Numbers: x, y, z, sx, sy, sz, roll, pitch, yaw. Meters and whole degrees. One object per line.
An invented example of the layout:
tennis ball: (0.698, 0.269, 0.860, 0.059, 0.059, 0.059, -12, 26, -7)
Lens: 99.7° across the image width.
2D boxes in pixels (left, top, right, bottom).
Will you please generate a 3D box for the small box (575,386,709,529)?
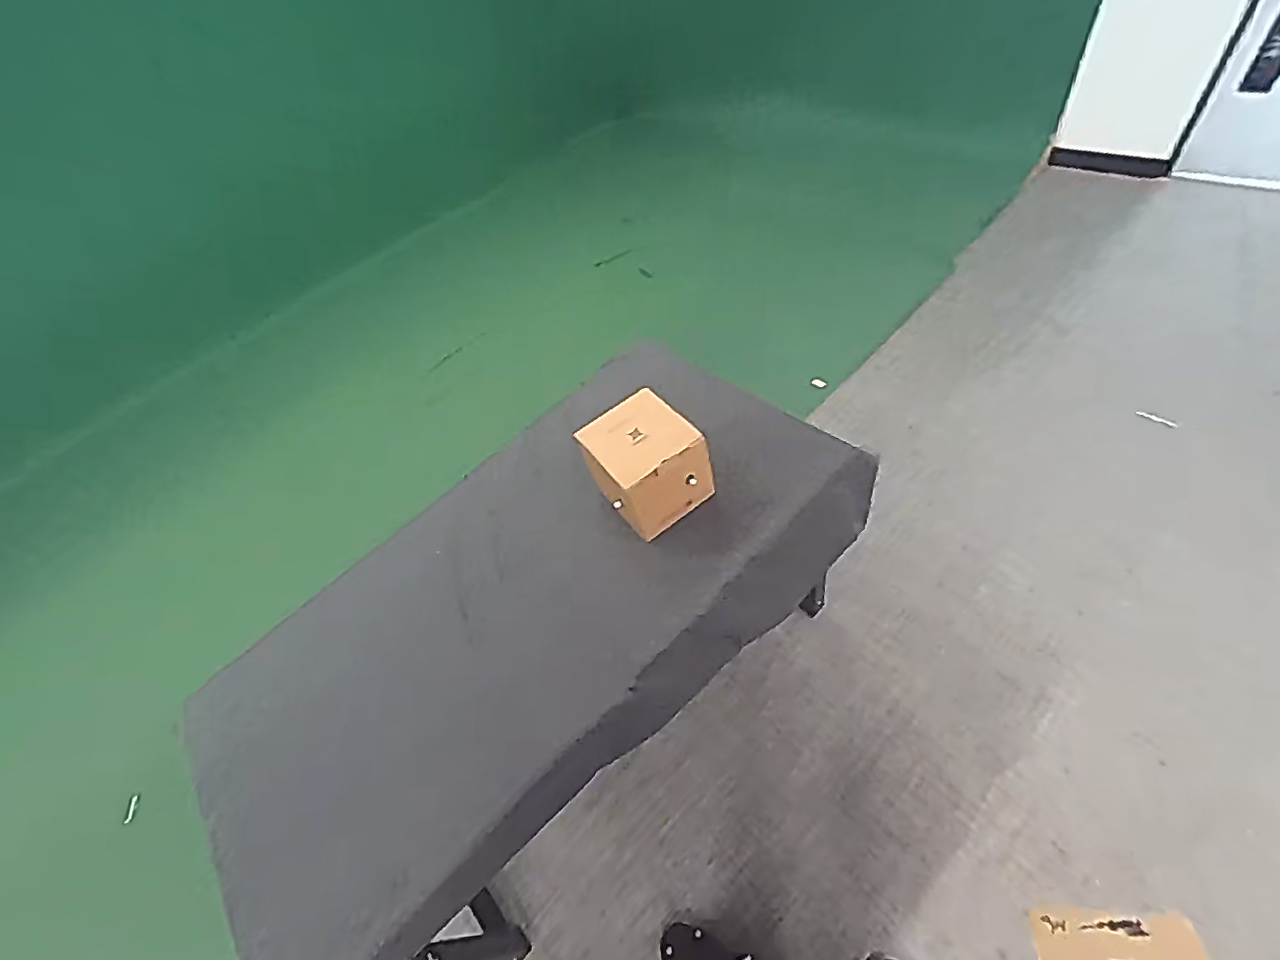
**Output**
small box: (0.011, -0.034, 0.996, 0.168, 0.176, 0.179, -33, 51, -14)

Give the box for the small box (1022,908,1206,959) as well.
small box: (0.544, 0.620, 0.582, 0.168, 0.179, 0.176, -14, 93, 26)
